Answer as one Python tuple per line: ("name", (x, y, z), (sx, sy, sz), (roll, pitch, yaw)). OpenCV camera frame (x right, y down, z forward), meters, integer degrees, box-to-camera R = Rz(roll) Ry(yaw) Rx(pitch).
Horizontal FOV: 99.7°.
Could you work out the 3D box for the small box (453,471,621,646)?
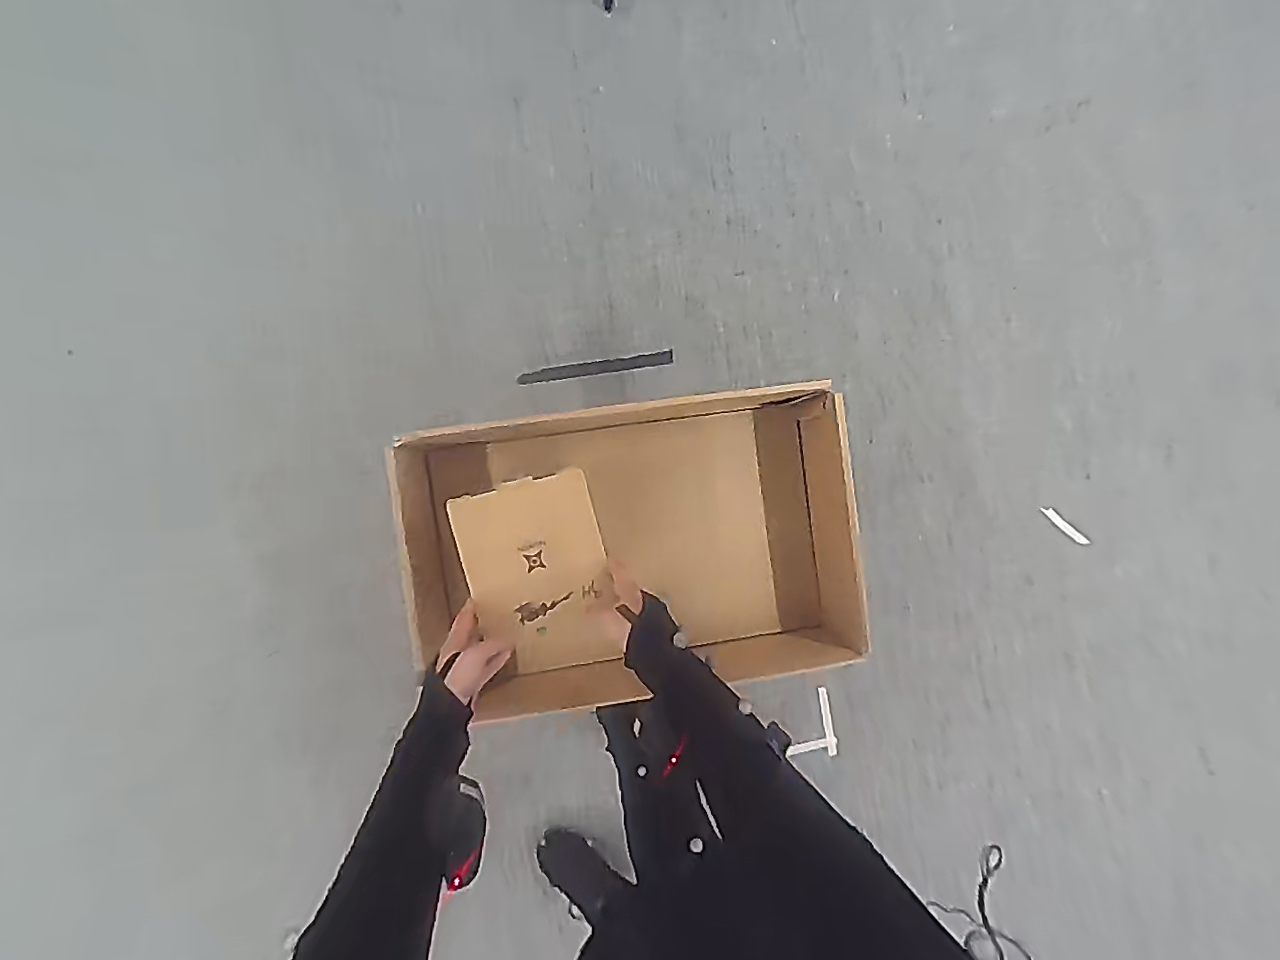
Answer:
("small box", (-0.131, 0.093, 0.718), (0.168, 0.176, 0.179), (-15, 92, -7))
